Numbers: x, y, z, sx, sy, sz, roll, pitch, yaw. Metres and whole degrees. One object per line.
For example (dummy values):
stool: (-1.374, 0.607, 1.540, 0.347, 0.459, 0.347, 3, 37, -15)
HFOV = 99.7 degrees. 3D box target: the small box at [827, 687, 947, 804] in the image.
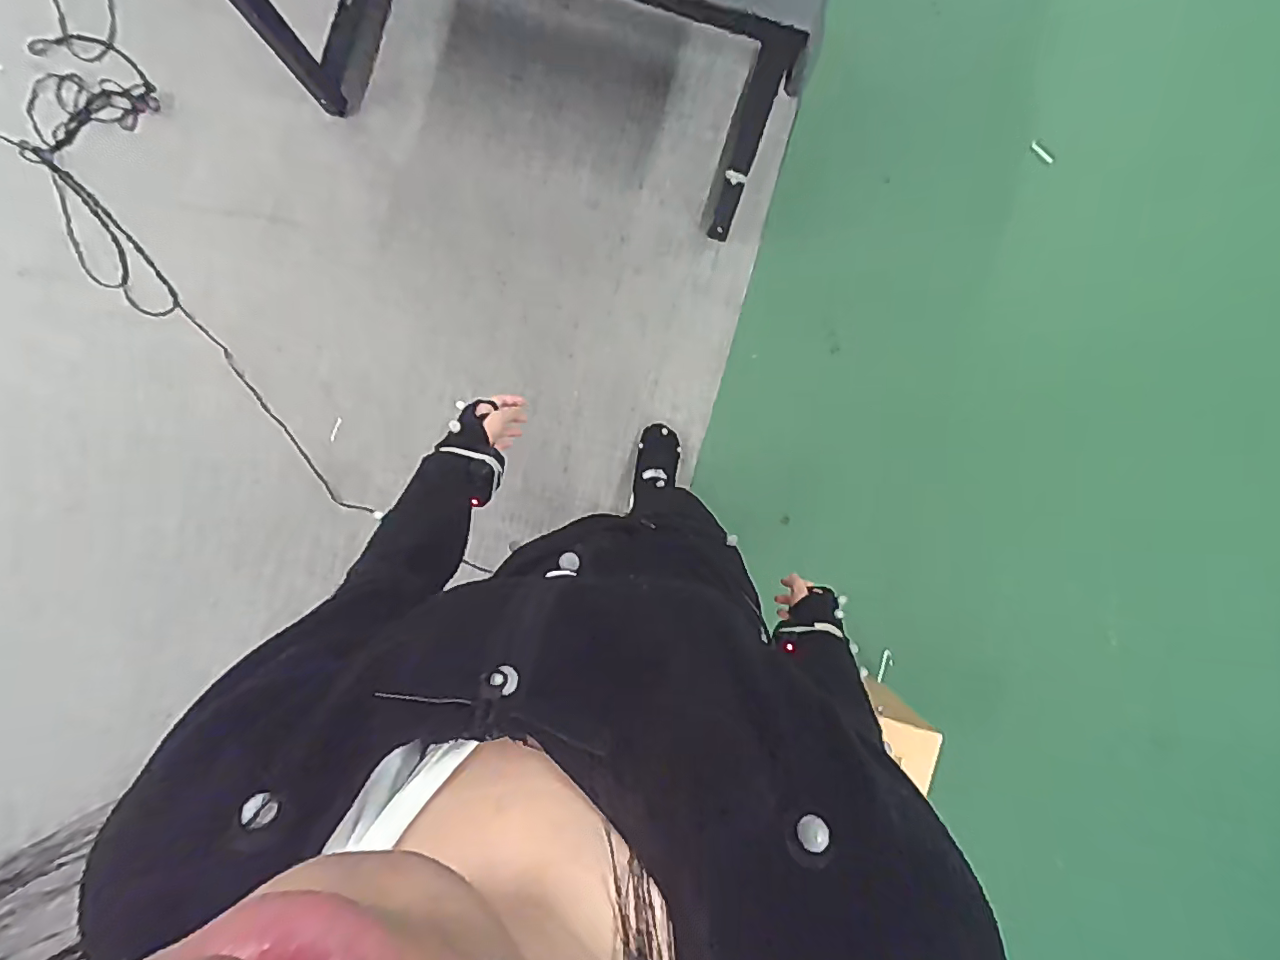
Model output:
small box: (0.566, 0.607, 1.260, 0.179, 0.176, 0.168, 16, 91, 0)
